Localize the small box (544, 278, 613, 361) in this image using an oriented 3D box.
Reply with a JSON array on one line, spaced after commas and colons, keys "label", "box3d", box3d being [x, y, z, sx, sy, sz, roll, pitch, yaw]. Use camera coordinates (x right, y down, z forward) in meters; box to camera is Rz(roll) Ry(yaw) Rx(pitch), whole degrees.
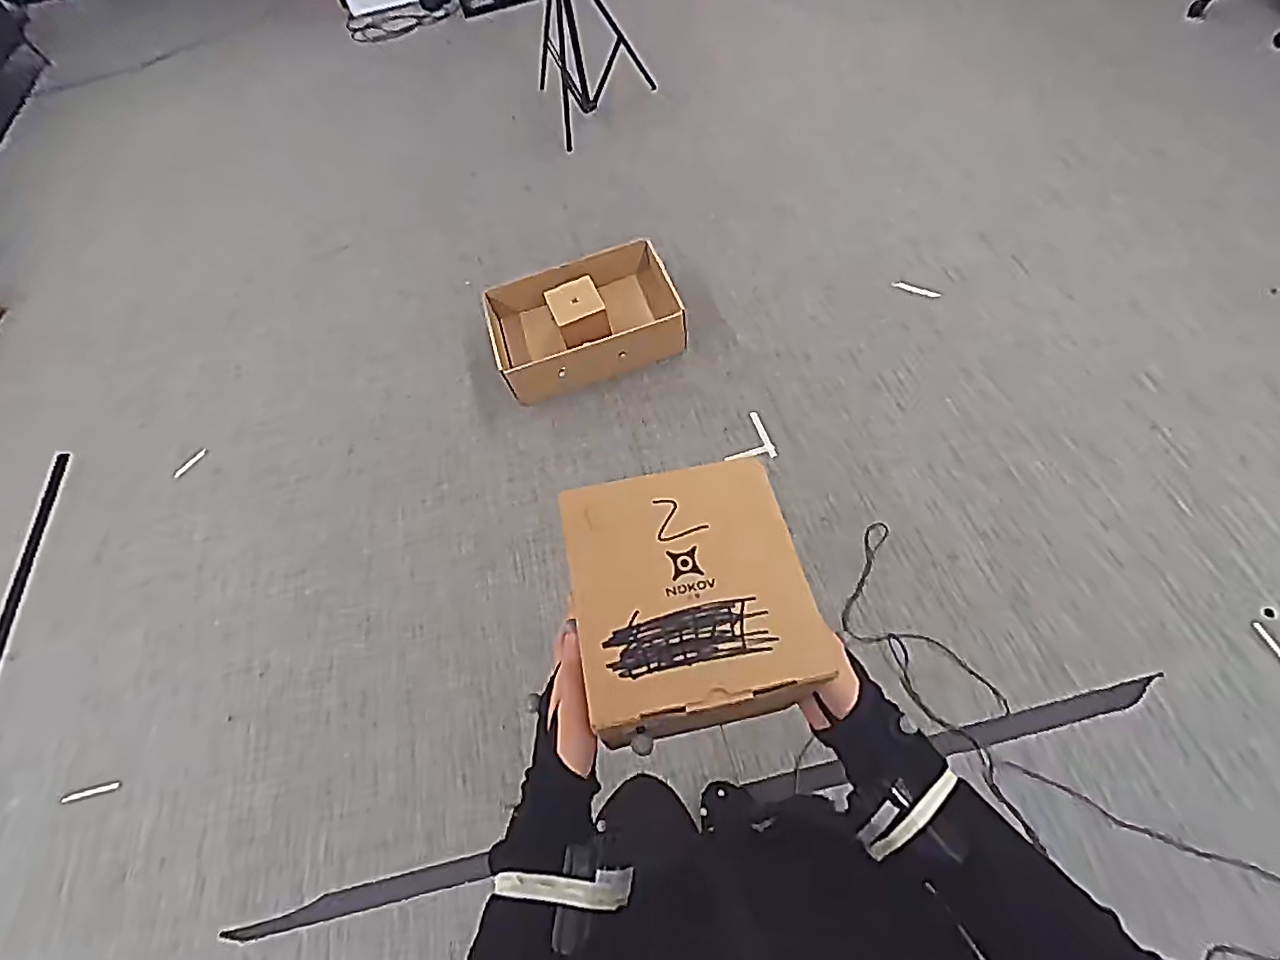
[{"label": "small box", "box3d": [-0.207, -0.539, 1.829, 0.168, 0.176, 0.179, -24, 62, -4]}]
